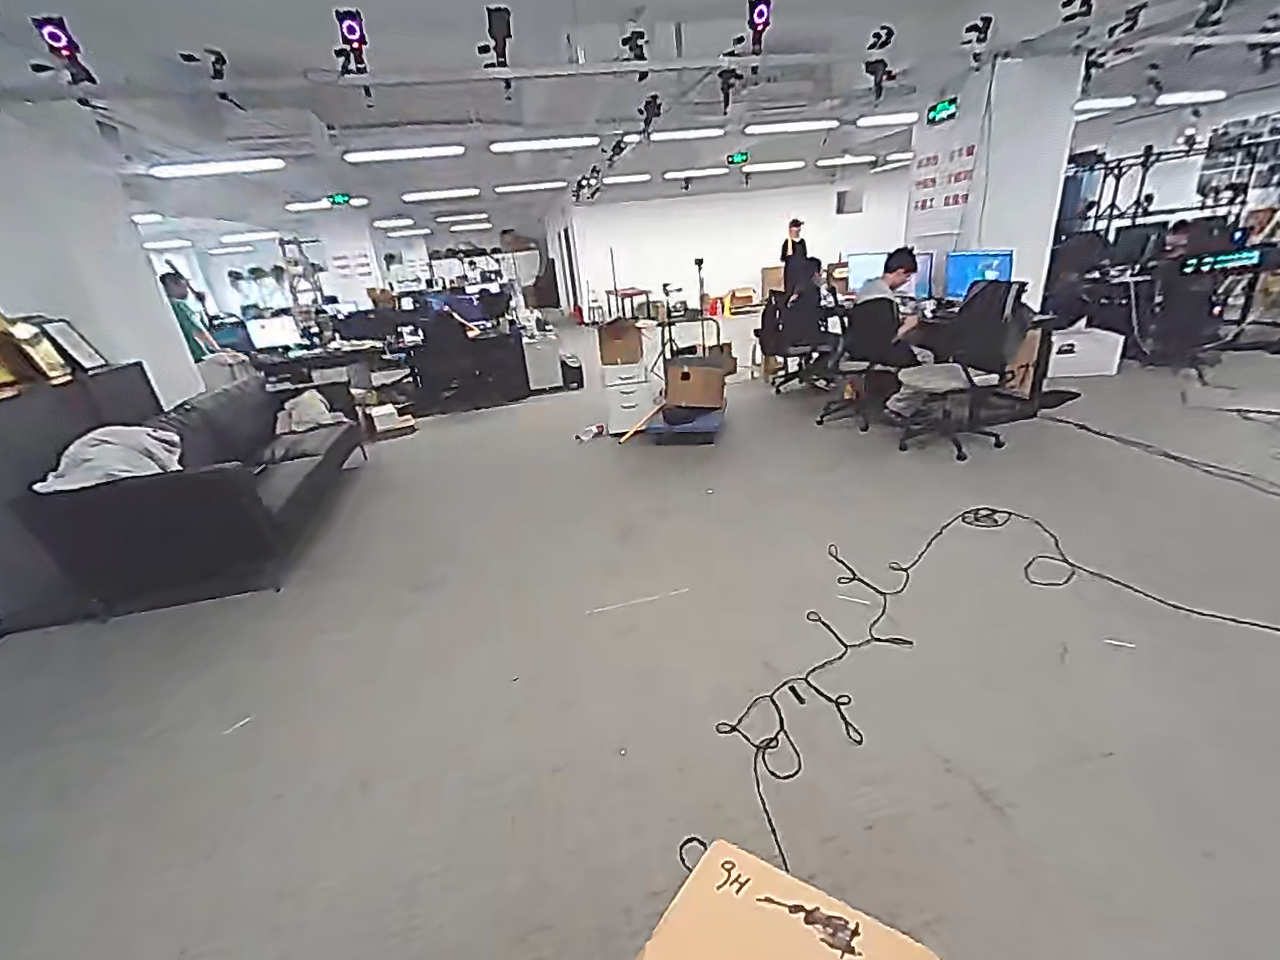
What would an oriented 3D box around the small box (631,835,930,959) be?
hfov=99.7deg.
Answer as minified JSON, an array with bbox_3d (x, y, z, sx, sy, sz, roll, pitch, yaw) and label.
[{"bbox_3d":[0.085,0.399,0.355,0.168,0.176,0.179,4,19,38],"label":"small box"}]
